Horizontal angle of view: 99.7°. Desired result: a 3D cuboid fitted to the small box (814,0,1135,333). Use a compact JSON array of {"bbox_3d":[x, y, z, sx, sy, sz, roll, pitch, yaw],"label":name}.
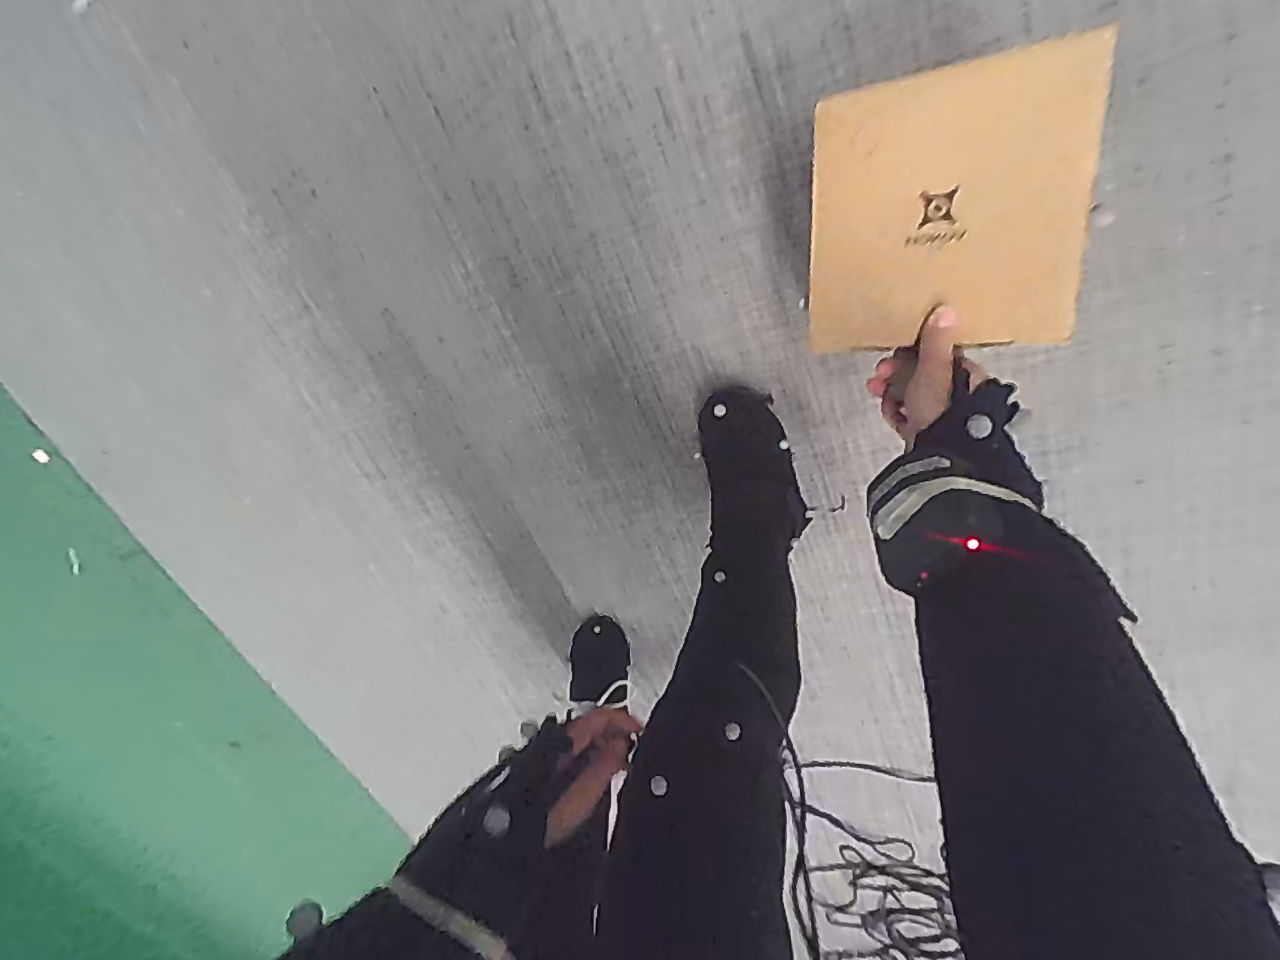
[{"bbox_3d":[0.241,-0.207,0.421,0.168,0.176,0.179,7,108,30],"label":"small box"}]
